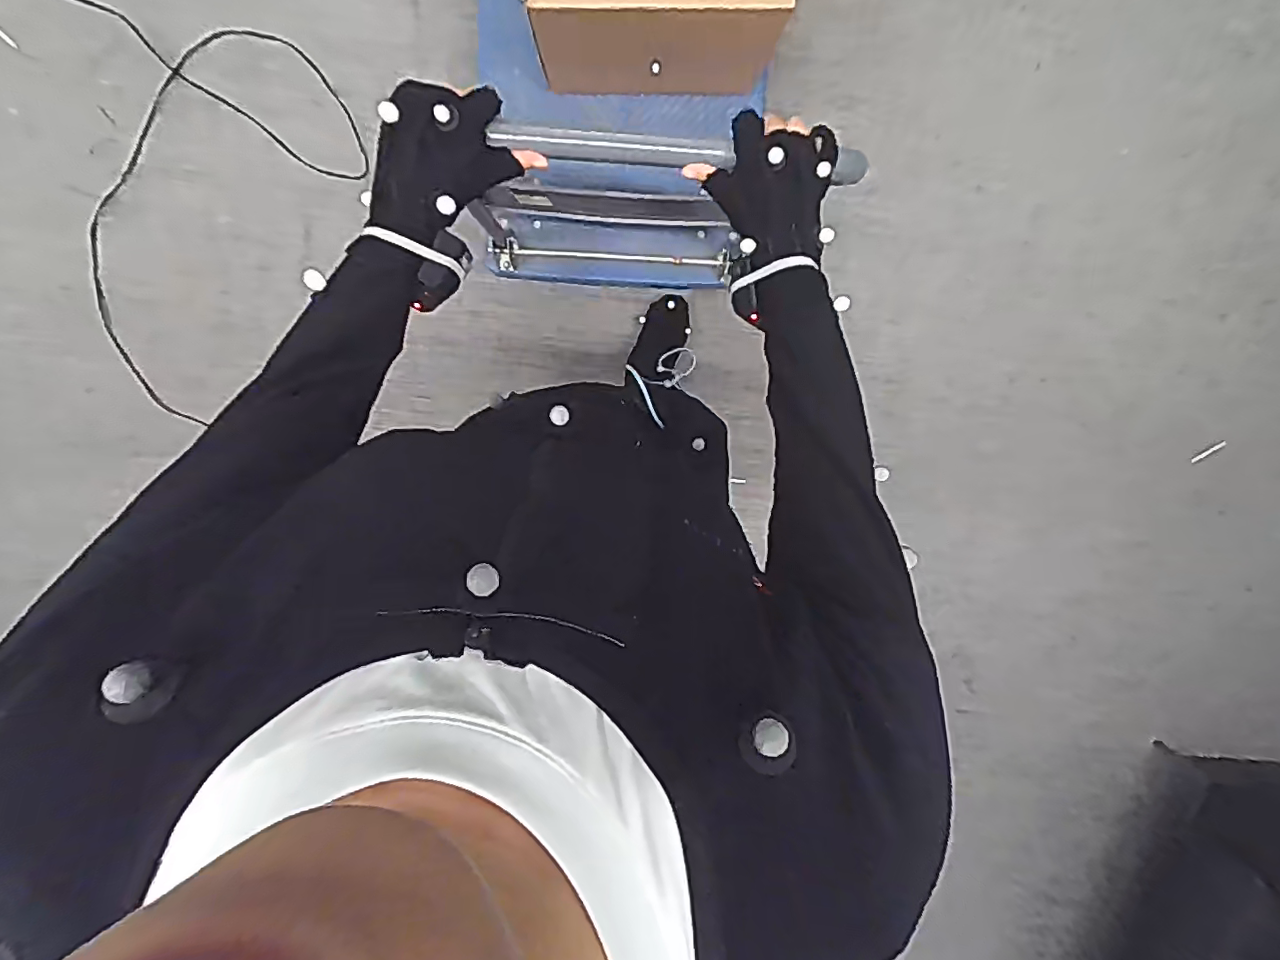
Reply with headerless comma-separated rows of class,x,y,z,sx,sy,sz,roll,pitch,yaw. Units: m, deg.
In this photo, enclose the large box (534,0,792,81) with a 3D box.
large box,0.031,-0.912,0.908,0.408,0.320,0.320,-2,106,0
